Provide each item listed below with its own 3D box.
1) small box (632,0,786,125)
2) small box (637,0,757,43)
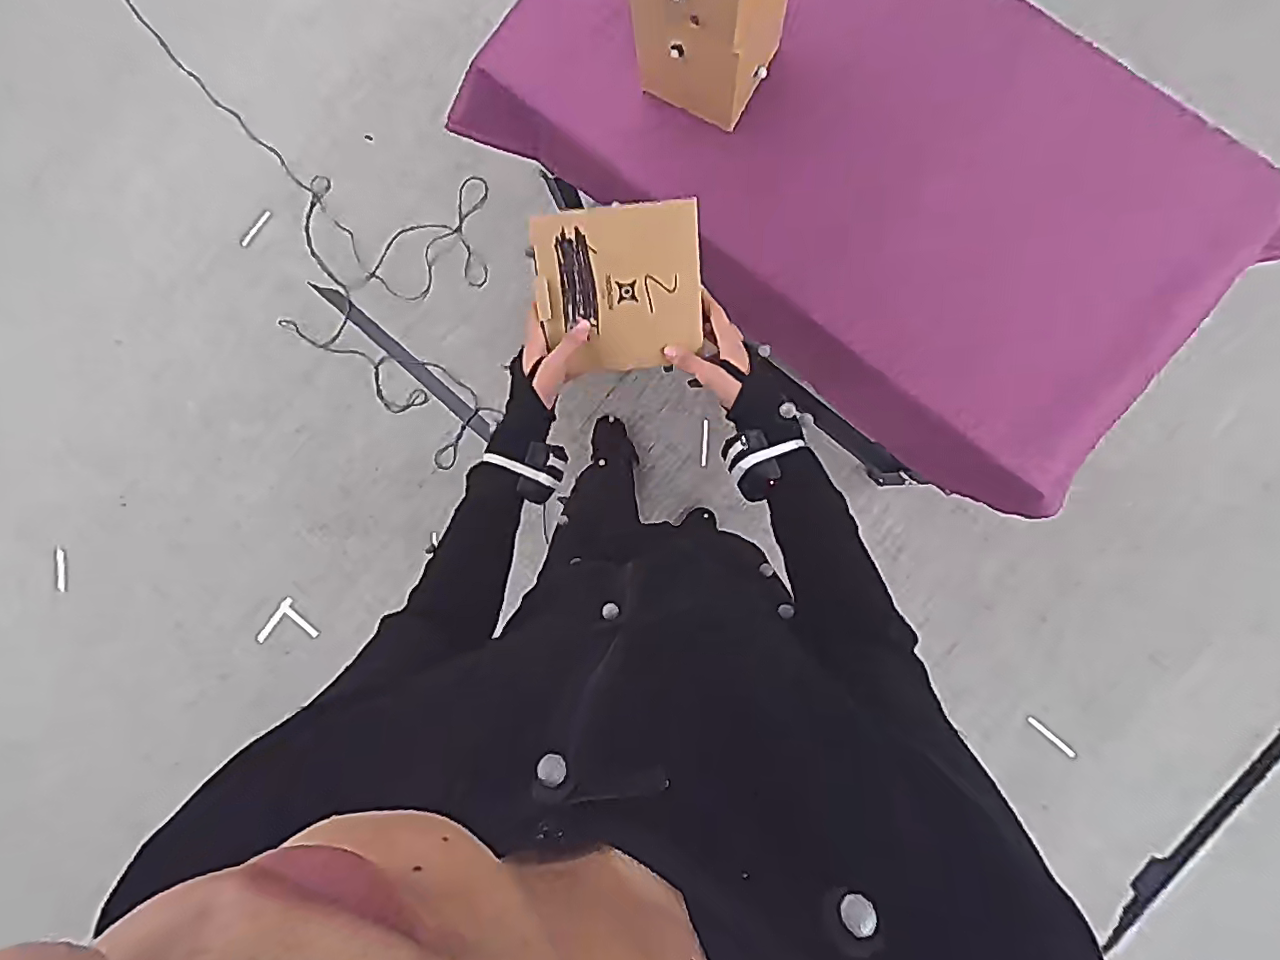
[{"bbox_3d":[0.108,-0.695,0.828,0.179,0.176,0.168,29,92,4],"label":"small box"},{"bbox_3d":[0.089,-0.708,0.665,0.168,0.176,0.179,28,92,6],"label":"small box"}]
